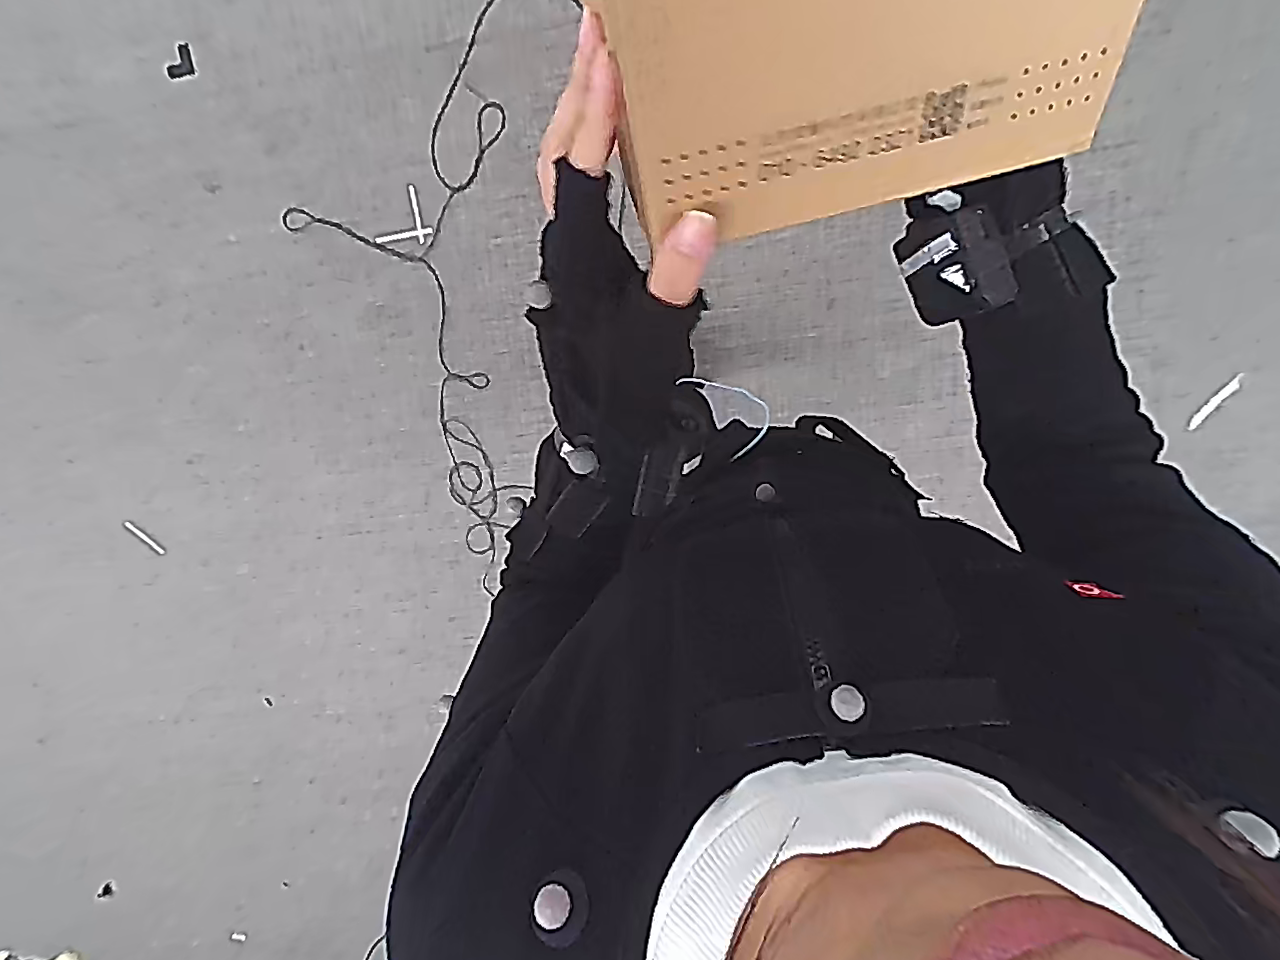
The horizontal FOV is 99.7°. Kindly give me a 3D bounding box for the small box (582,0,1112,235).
[{"bbox_3d":[0.061,-0.215,0.209,0.168,0.179,0.176,-14,137,0],"label":"small box"}]
